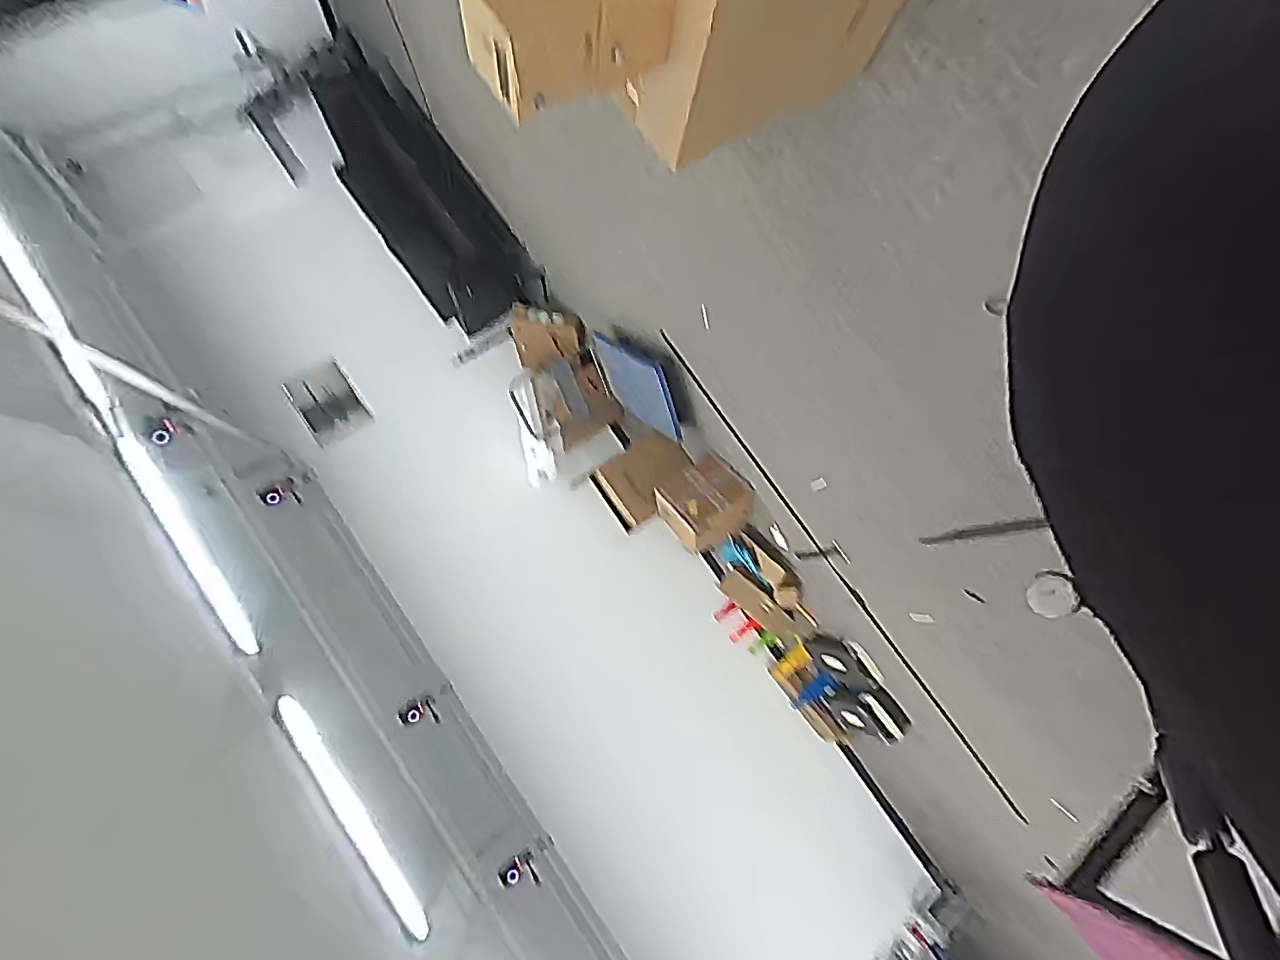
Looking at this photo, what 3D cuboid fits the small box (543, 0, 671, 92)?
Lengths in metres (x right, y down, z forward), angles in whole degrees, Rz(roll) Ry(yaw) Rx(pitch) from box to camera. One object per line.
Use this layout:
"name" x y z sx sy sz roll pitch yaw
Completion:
"small box" -0.058 -0.865 0.973 0.168 0.176 0.179 54 167 6
